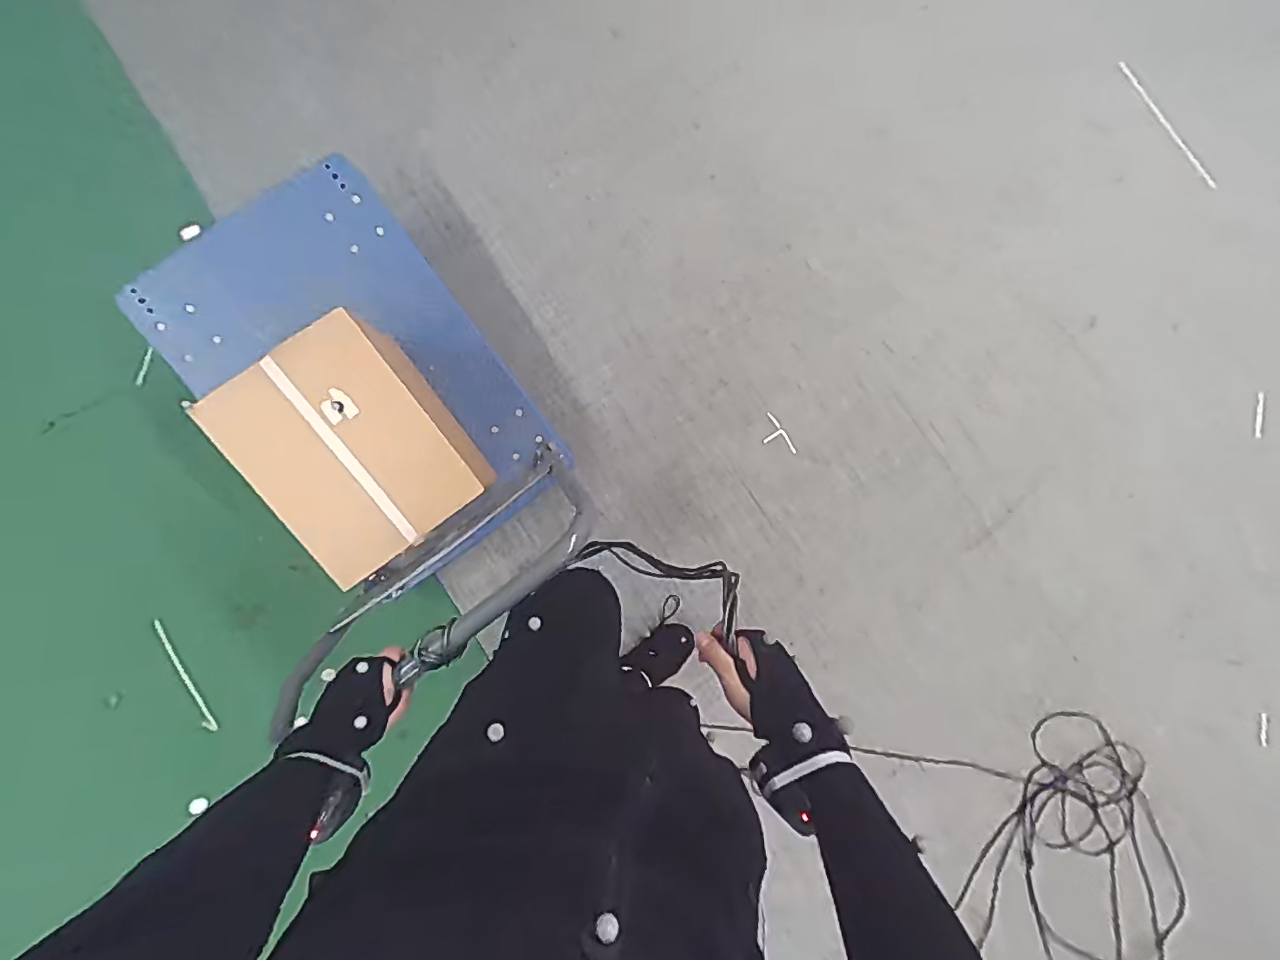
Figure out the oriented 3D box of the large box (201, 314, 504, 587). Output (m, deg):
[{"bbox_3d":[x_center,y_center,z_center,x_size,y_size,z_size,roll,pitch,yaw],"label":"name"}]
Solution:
[{"bbox_3d":[-0.536,-0.058,1.109,0.320,0.320,0.408,-37,99,-6],"label":"large box"}]
